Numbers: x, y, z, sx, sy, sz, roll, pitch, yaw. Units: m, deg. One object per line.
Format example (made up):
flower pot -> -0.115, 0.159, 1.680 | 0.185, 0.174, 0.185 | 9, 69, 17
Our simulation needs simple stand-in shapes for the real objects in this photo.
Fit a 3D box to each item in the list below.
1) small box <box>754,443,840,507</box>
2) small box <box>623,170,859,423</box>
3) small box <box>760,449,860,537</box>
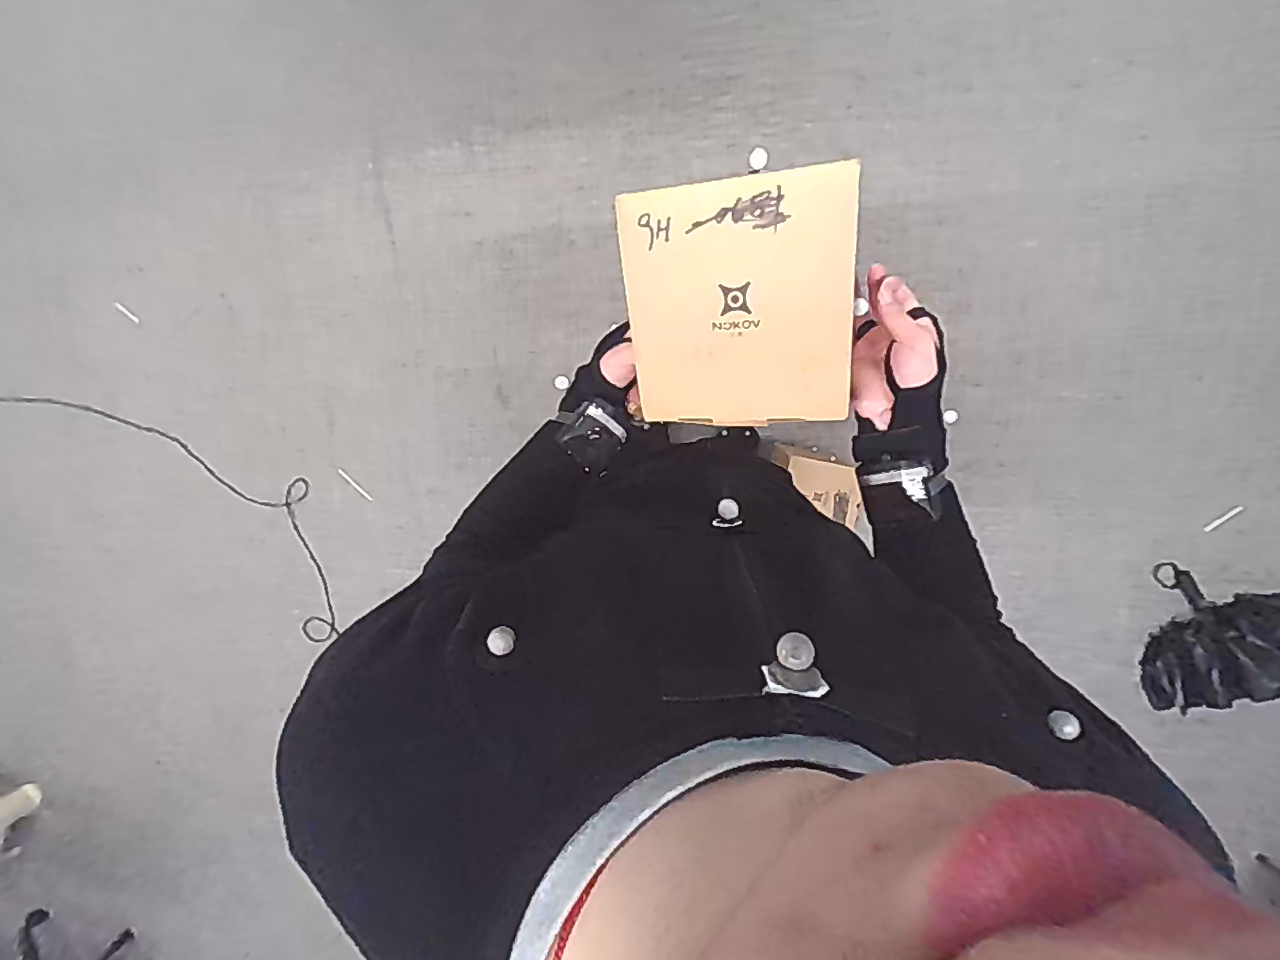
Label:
small box -> 0.418, -0.002, 1.465 | 0.179, 0.176, 0.168 | 11, 99, 5
small box -> 0.098, -0.163, 0.478 | 0.168, 0.176, 0.179 | 1, 119, 18
small box -> 0.401, 0.024, 1.303 | 0.179, 0.176, 0.168 | 12, 99, 4
